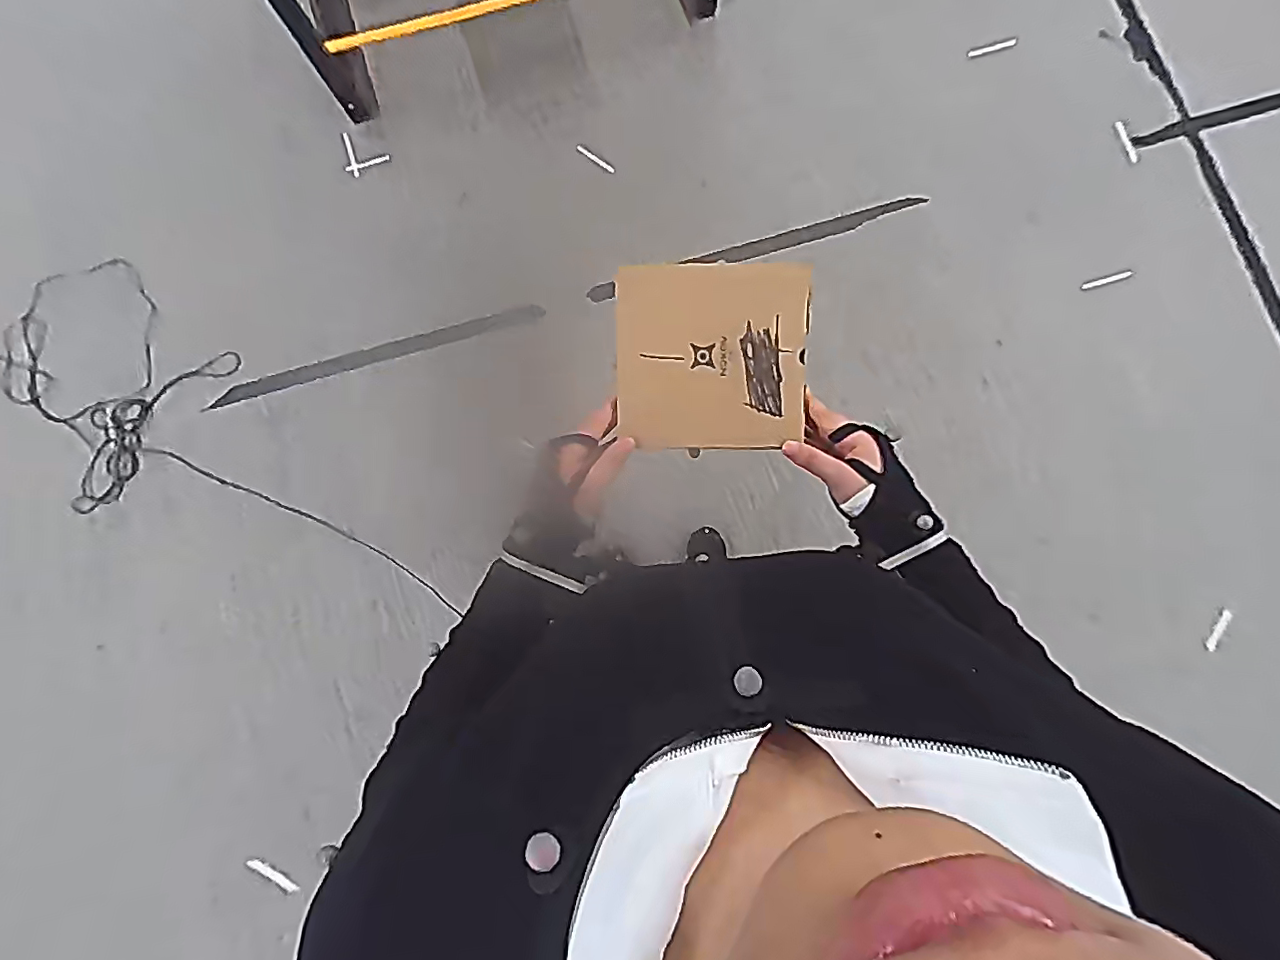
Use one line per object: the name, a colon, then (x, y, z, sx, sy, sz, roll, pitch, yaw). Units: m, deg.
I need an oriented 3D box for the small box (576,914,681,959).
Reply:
small box: (-0.014, 0.873, 0.889, 0.179, 0.176, 0.168, -19, 83, 1)

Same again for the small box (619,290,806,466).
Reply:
small box: (0.067, -0.107, 0.590, 0.179, 0.176, 0.168, 0, 98, 1)
